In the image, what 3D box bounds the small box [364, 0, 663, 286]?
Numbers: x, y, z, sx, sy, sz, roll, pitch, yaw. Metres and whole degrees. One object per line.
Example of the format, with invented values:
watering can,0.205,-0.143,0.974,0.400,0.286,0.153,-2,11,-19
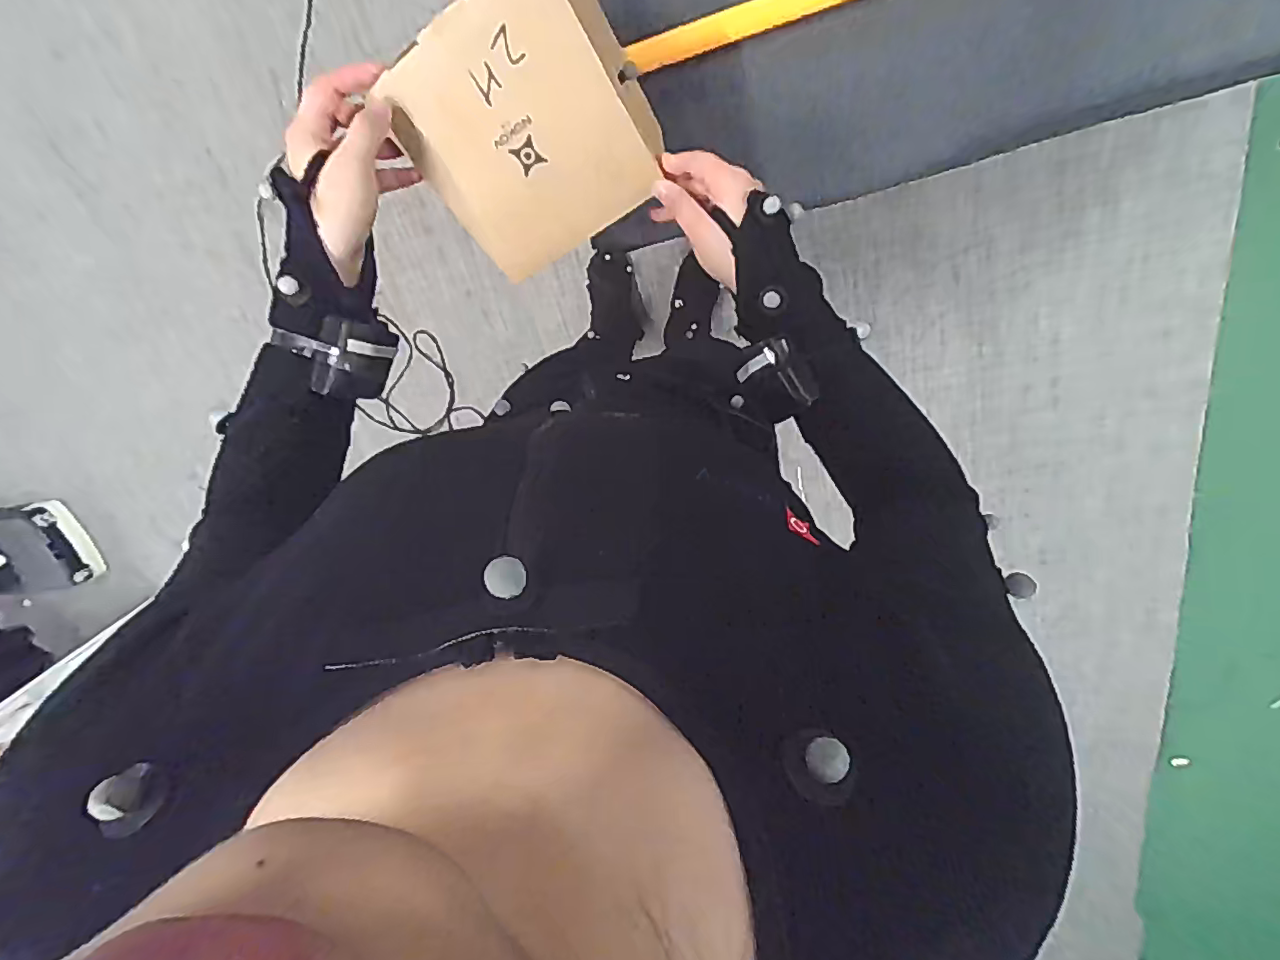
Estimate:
small box,-0.092,-0.316,0.475,0.168,0.176,0.179,-23,132,21
